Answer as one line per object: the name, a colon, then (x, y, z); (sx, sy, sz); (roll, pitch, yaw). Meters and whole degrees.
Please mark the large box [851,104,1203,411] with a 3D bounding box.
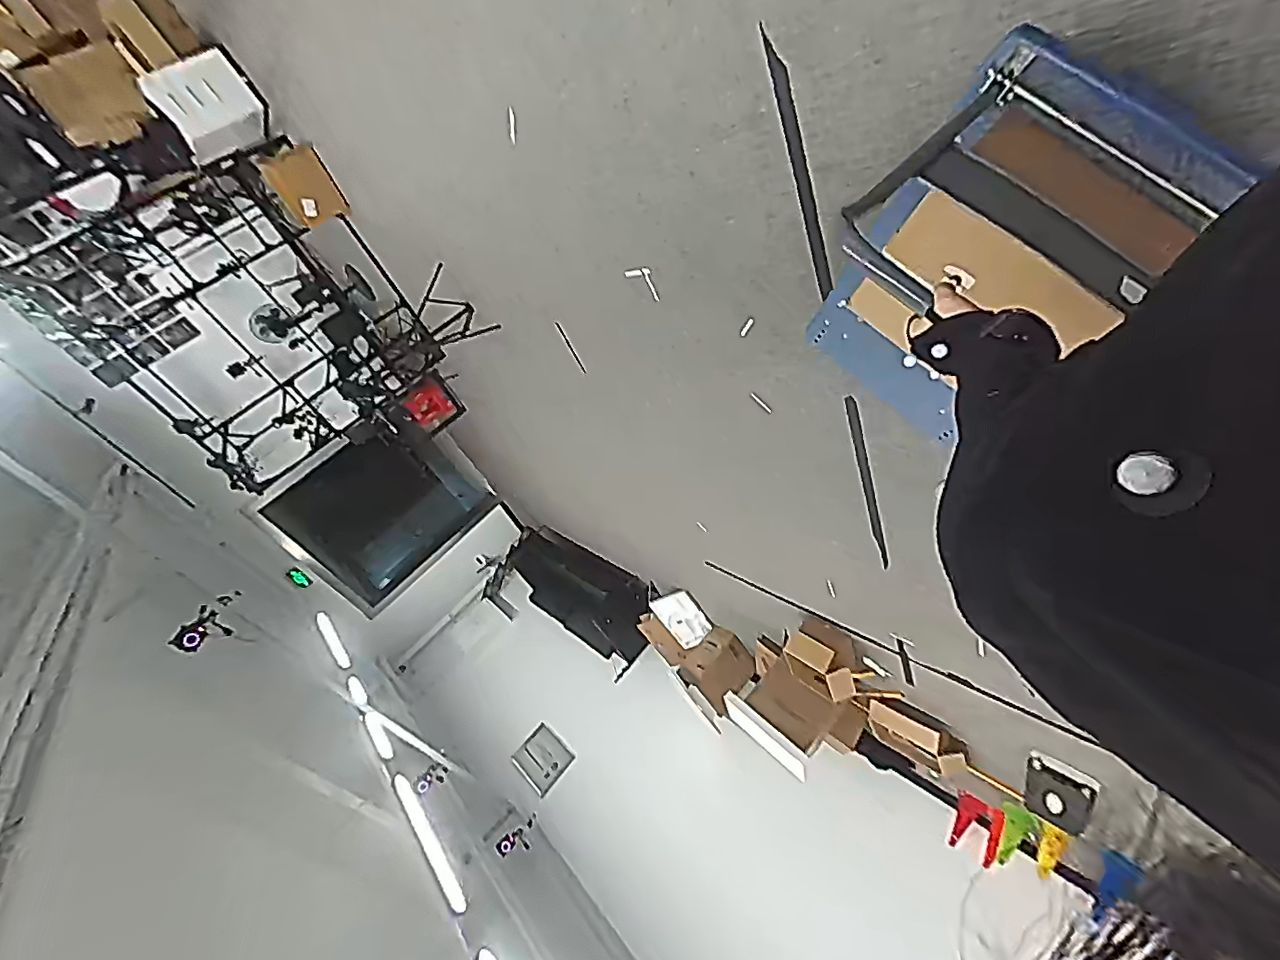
large box: (0.719, -0.419, 1.051); (0.408, 0.320, 0.320); (42, 158, 9)
